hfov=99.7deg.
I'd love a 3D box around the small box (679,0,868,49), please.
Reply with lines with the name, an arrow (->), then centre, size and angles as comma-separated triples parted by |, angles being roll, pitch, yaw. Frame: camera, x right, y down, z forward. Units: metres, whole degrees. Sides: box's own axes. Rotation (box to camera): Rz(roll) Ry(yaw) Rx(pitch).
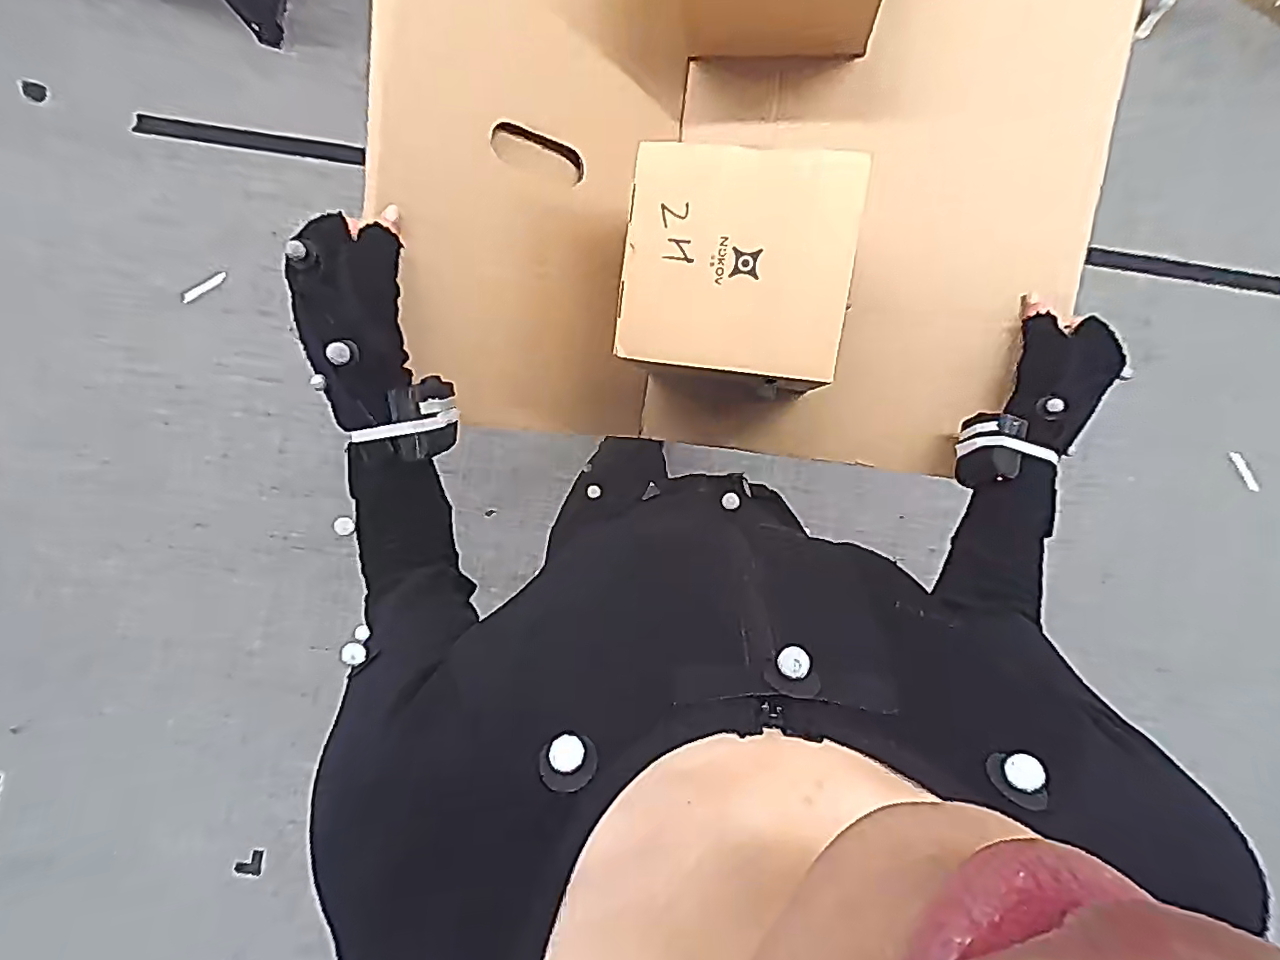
small box -> 0.122, -0.504, 0.456 | 0.179, 0.176, 0.168 | 7, 98, 10

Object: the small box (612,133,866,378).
small box -> 0.087, -0.189, 0.501 | 0.179, 0.176, 0.168 | 9, 99, 10
